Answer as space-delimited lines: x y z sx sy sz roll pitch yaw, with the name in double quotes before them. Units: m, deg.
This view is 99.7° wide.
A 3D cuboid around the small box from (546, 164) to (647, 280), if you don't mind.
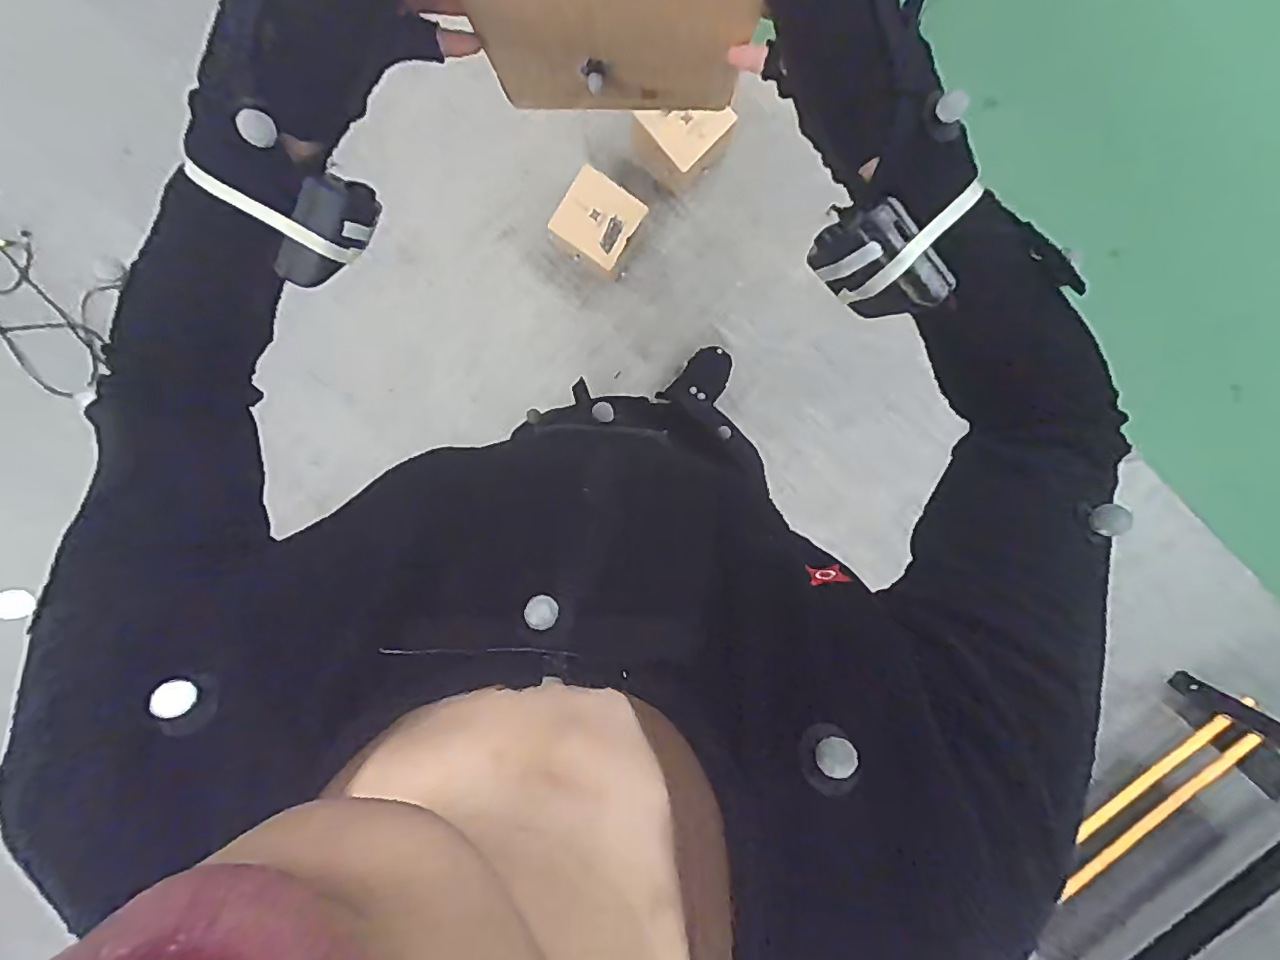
"small box" -0.096 -0.601 1.288 0.179 0.176 0.168 34 98 -4
